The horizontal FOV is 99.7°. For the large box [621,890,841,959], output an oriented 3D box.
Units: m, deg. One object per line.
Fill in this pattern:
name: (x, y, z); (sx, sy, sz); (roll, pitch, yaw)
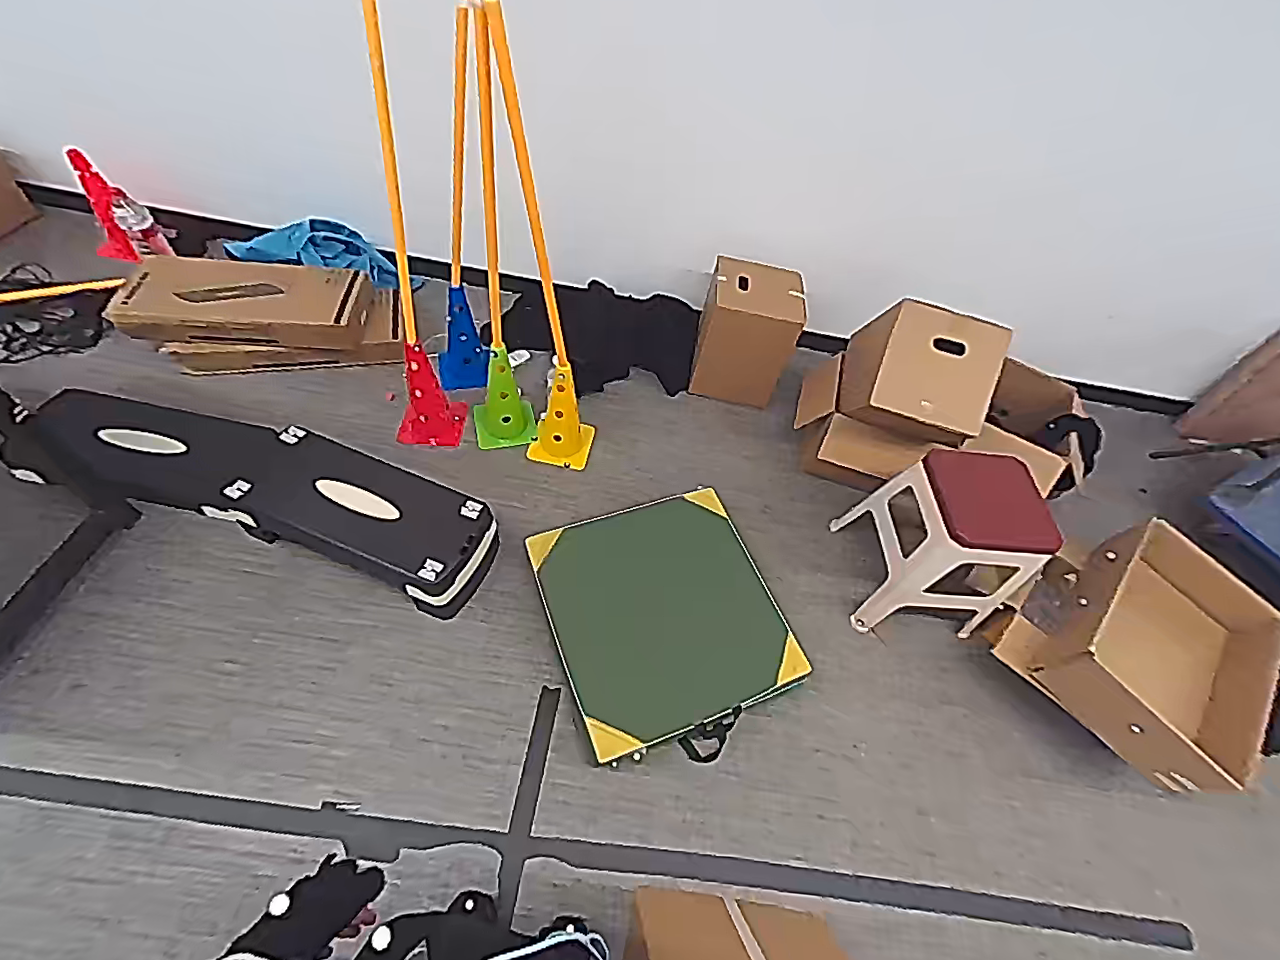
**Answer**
large box: (0.130, 0.792, 0.651); (0.320, 0.408, 0.320); (12, 77, -4)
